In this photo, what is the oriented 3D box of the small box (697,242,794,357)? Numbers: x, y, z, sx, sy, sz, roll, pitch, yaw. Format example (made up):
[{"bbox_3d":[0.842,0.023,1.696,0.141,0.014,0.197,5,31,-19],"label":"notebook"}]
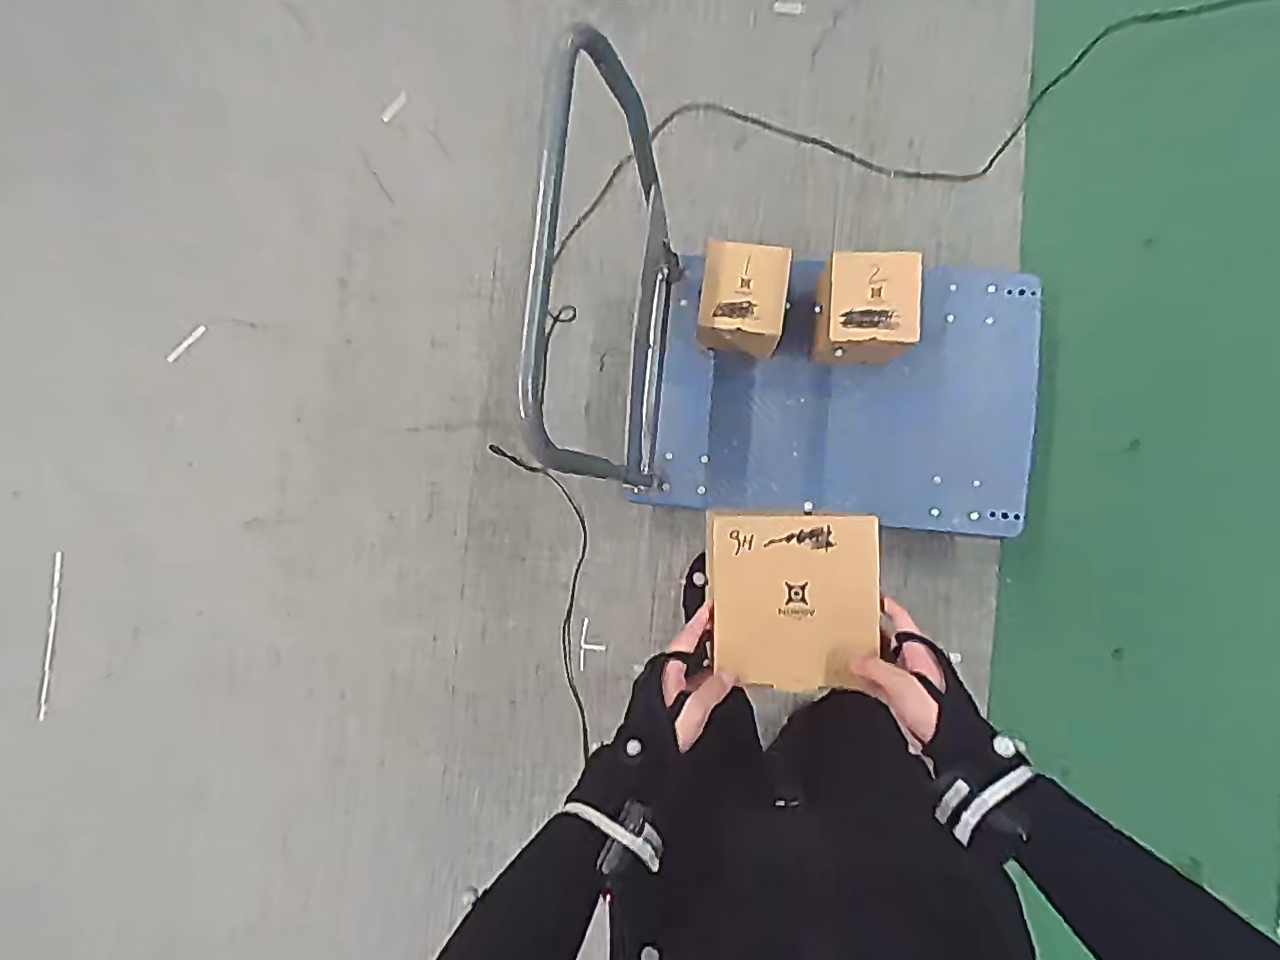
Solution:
[{"bbox_3d":[0.213,-0.366,1.126,0.168,0.176,0.179,8,88,6],"label":"small box"}]

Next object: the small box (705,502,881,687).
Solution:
[{"bbox_3d":[0.164,0.118,0.625,0.168,0.176,0.179,0,90,4],"label":"small box"}]
